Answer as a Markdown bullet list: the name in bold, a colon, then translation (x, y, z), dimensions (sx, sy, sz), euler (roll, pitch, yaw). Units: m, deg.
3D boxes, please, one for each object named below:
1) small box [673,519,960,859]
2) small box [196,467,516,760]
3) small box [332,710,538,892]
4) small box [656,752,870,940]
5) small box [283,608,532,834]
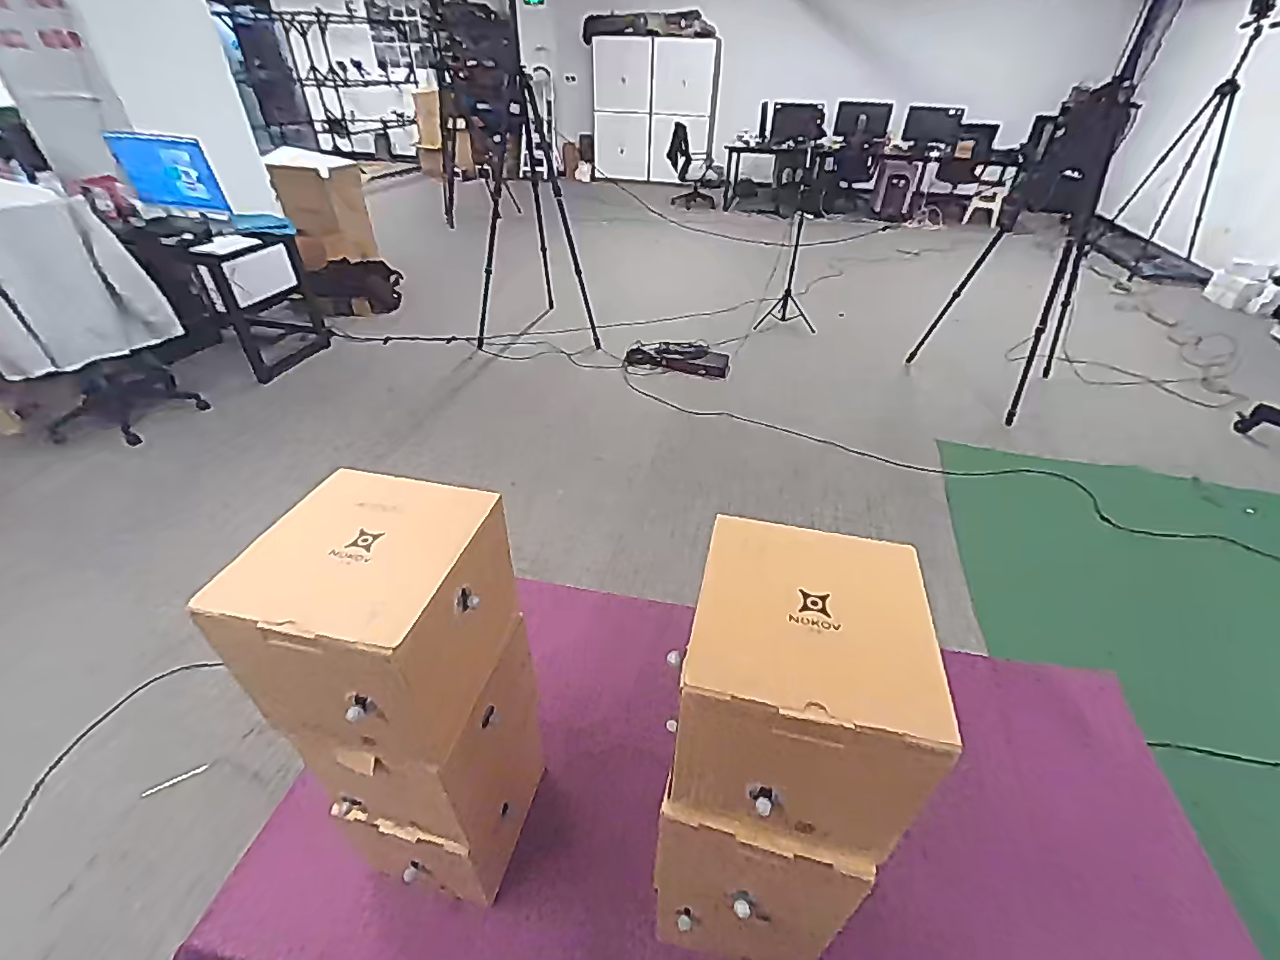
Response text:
- **small box**: translation (0.124, 0.162, 0.440), dimensions (0.168, 0.176, 0.179), euler (10, 38, 10)
- **small box**: translation (-0.221, 0.116, 0.483), dimensions (0.168, 0.176, 0.179), euler (10, 38, 9)
- **small box**: translation (-0.236, 0.377, 0.680), dimensions (0.168, 0.176, 0.179), euler (11, 39, 10)
- **small box**: translation (0.115, 0.298, 0.530), dimensions (0.168, 0.176, 0.179), euler (11, 38, 12)
- **small box**: translation (-0.226, 0.242, 0.585), dimensions (0.168, 0.176, 0.179), euler (11, 37, 11)
